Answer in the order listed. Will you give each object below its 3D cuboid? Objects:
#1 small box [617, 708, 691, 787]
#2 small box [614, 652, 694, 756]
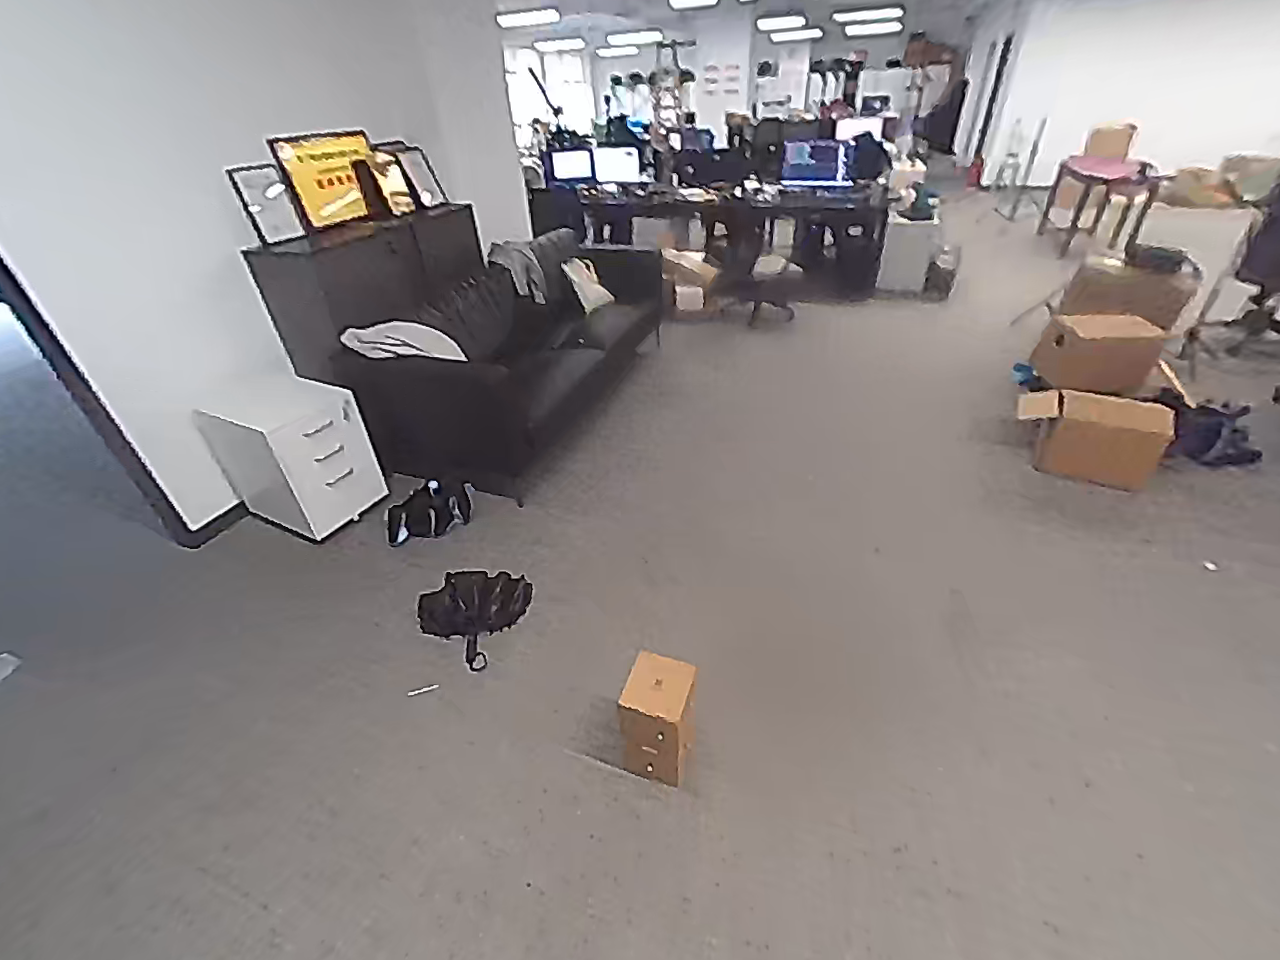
[{"bbox_3d":[0.047,0.736,1.543,0.168,0.176,0.179,10,37,17],"label":"small box"},{"bbox_3d":[0.042,0.602,1.451,0.168,0.176,0.179,11,36,17],"label":"small box"}]
